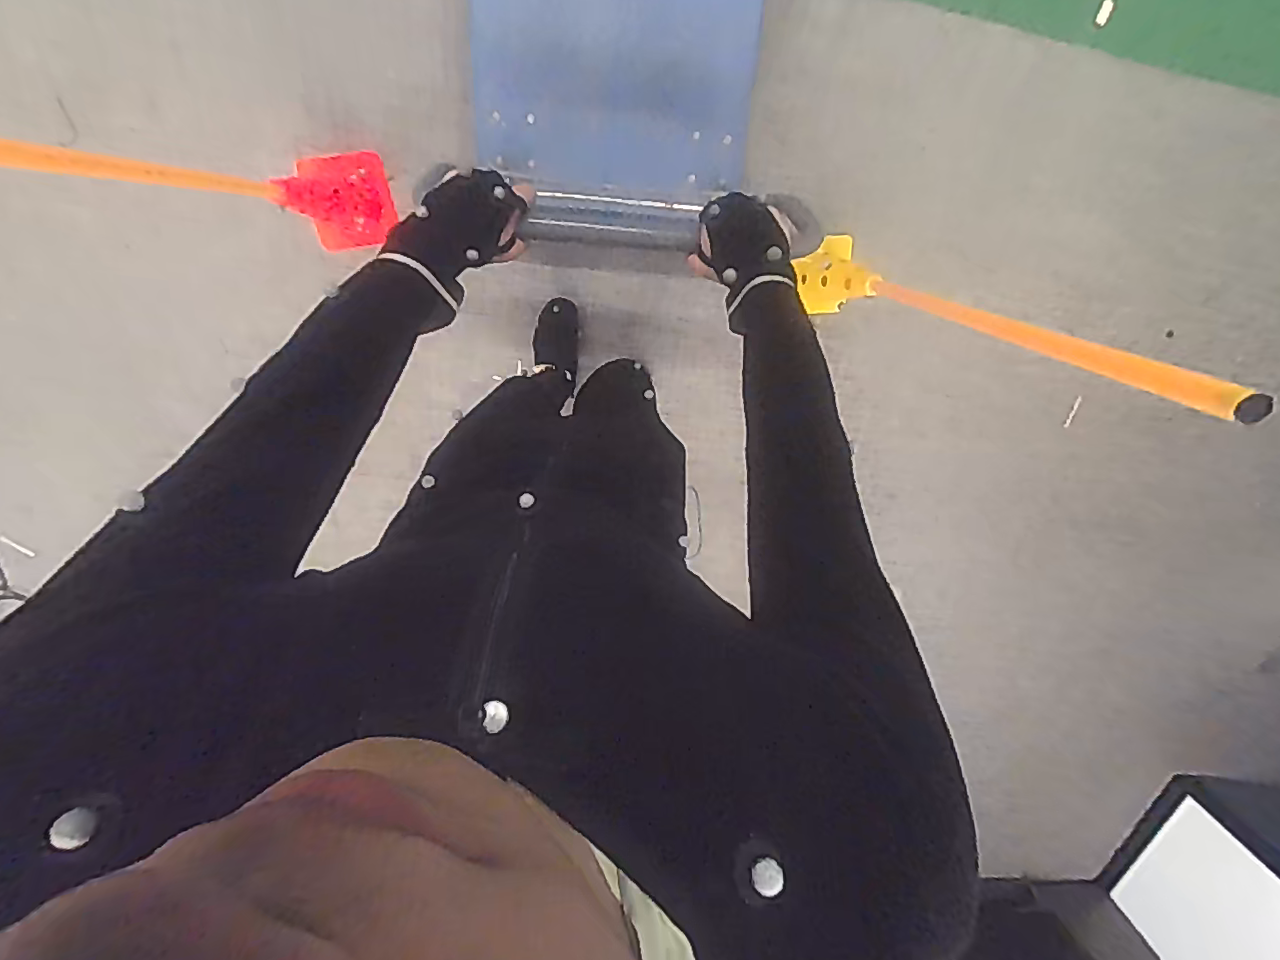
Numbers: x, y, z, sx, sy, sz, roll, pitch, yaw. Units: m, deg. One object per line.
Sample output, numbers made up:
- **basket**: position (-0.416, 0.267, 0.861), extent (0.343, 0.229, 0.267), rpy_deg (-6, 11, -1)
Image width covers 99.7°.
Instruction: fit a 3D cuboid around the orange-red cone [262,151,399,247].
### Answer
- **orange-red cone**: position (-0.682, -0.602, 1.141), extent (0.199, 0.360, 0.198), rpy_deg (-7, 114, -1)
